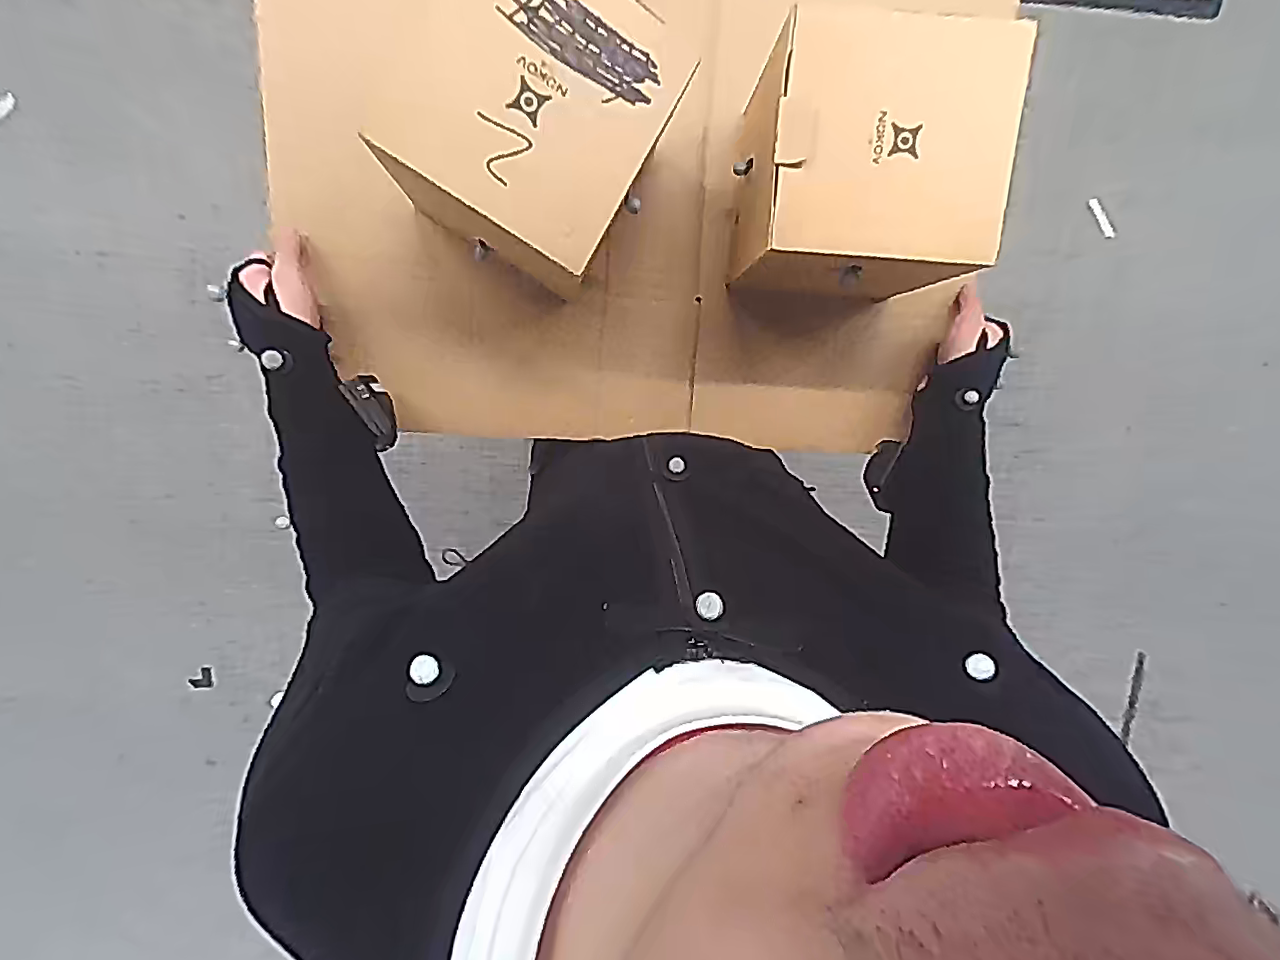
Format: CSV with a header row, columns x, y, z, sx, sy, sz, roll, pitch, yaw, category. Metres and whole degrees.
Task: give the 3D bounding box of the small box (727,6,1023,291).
x,y,z,sx,sy,sz,roll,pitch,yaw,category
0.187,-0.271,0.486,0.179,0.176,0.168,3,101,-3,small box
